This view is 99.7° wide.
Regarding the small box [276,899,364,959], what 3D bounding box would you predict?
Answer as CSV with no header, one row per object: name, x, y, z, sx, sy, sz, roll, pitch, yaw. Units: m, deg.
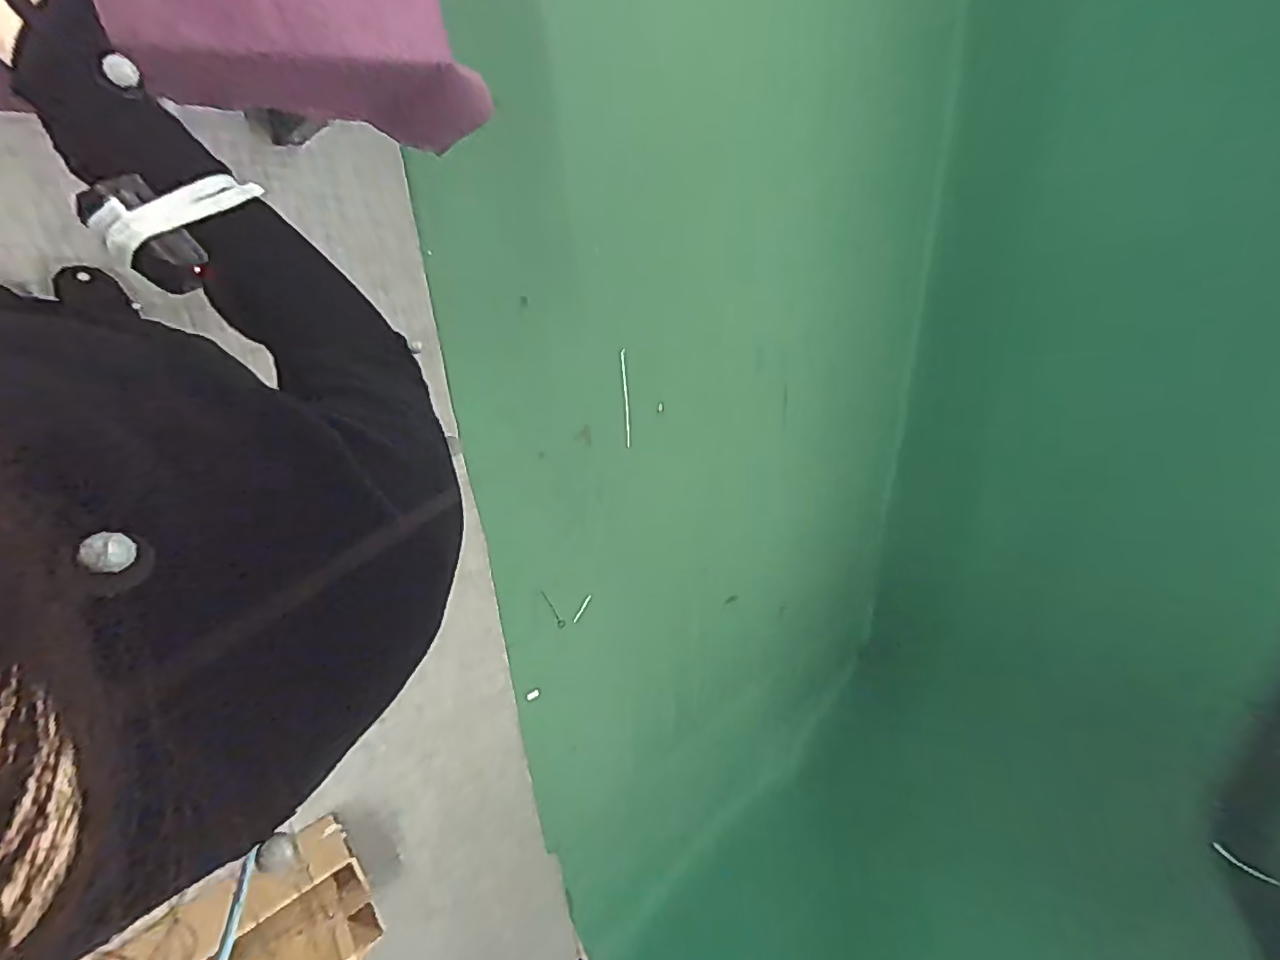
small box,-0.851,1.278,1.444,0.168,0.176,0.179,-16,118,-39
